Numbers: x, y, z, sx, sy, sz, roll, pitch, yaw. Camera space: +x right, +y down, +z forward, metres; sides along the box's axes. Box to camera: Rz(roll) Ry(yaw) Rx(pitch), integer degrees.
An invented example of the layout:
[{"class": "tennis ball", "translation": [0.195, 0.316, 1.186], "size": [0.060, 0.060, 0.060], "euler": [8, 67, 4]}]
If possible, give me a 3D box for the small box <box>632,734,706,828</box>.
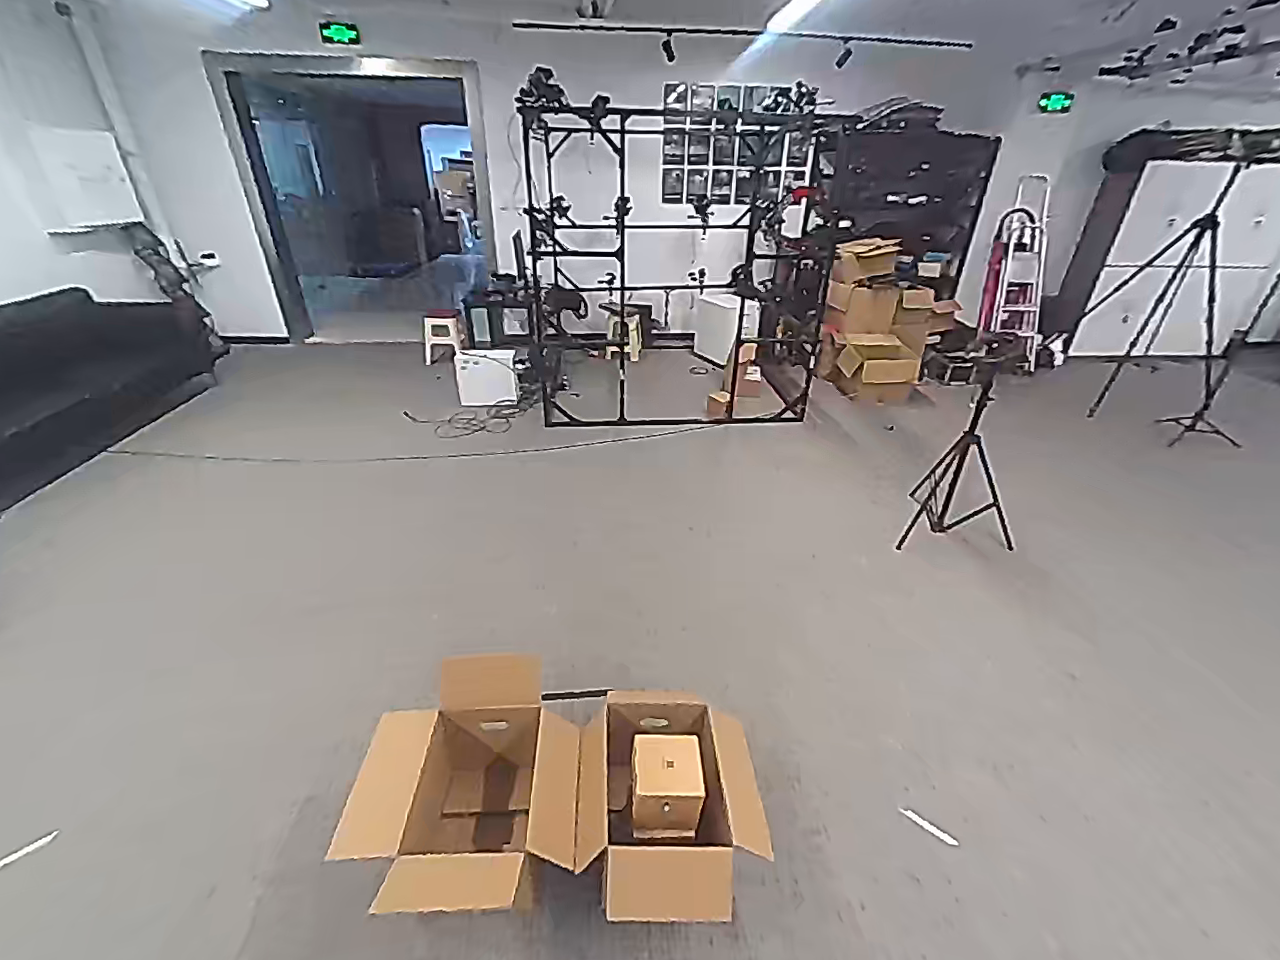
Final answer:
[{"class": "small box", "translation": [0.071, 0.809, 1.454], "size": [0.179, 0.176, 0.168], "euler": [3, 32, -3]}]
